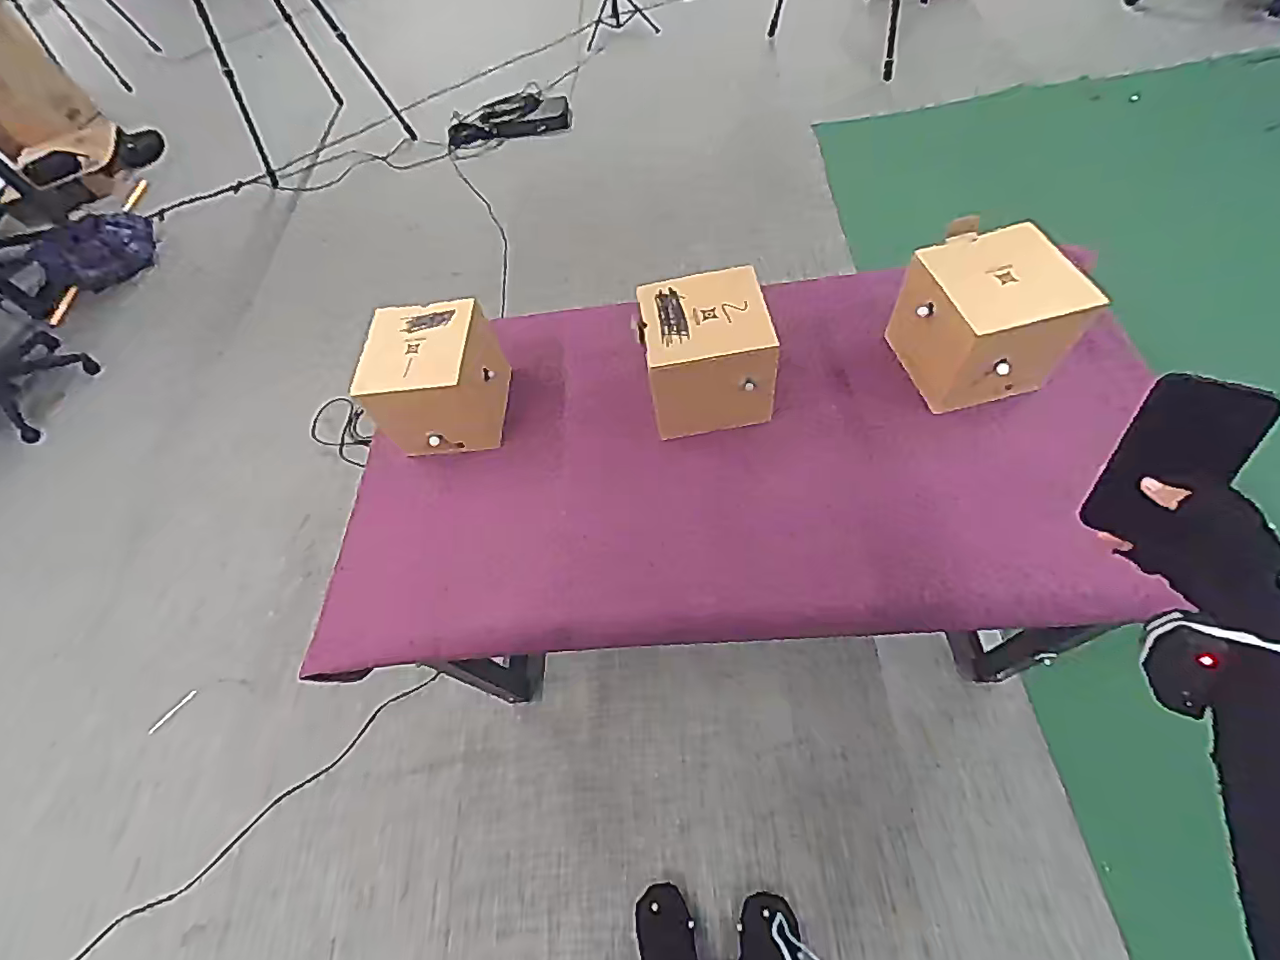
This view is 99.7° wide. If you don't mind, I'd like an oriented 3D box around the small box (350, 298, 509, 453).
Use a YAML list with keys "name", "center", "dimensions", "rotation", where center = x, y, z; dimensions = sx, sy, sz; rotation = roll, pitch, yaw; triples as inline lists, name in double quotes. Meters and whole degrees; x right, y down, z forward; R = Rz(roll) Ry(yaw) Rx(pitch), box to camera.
- name: "small box"
  center: [-0.321, -0.162, 0.866]
  dimensions: [0.168, 0.176, 0.179]
  rotation: [-4, 61, 7]

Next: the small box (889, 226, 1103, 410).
- name: "small box"
  center: [0.486, -0.220, 0.773]
  dimensions: [0.168, 0.176, 0.179]
  rotation: [-14, 58, 2]
